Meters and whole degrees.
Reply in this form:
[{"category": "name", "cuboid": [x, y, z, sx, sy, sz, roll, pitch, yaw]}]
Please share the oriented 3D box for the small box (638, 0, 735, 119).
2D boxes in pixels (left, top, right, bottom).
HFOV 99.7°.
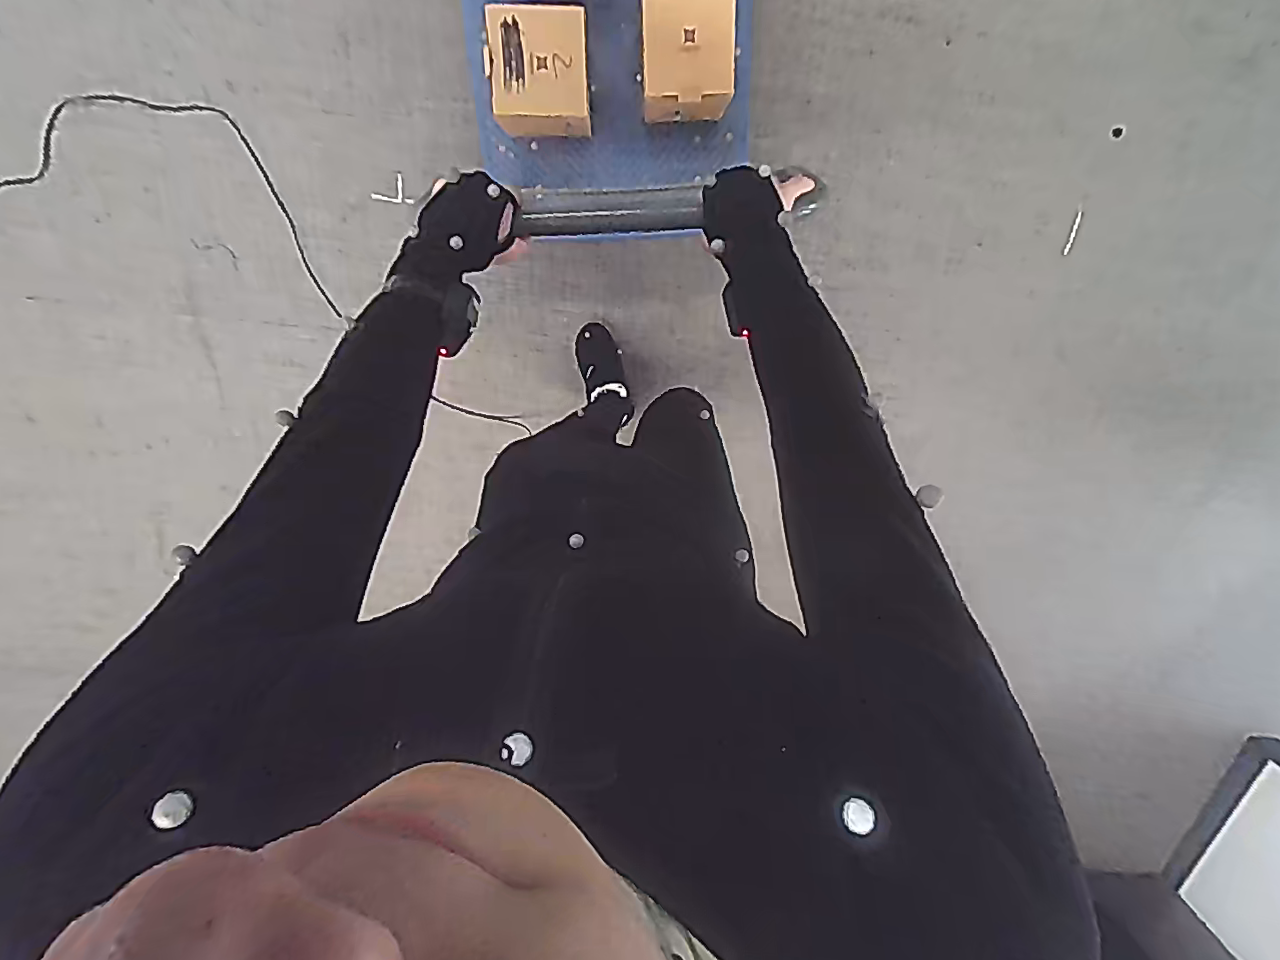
[{"category": "small box", "cuboid": [0.084, -0.820, 1.039, 0.168, 0.176, 0.179, -3, 113, -1]}]
